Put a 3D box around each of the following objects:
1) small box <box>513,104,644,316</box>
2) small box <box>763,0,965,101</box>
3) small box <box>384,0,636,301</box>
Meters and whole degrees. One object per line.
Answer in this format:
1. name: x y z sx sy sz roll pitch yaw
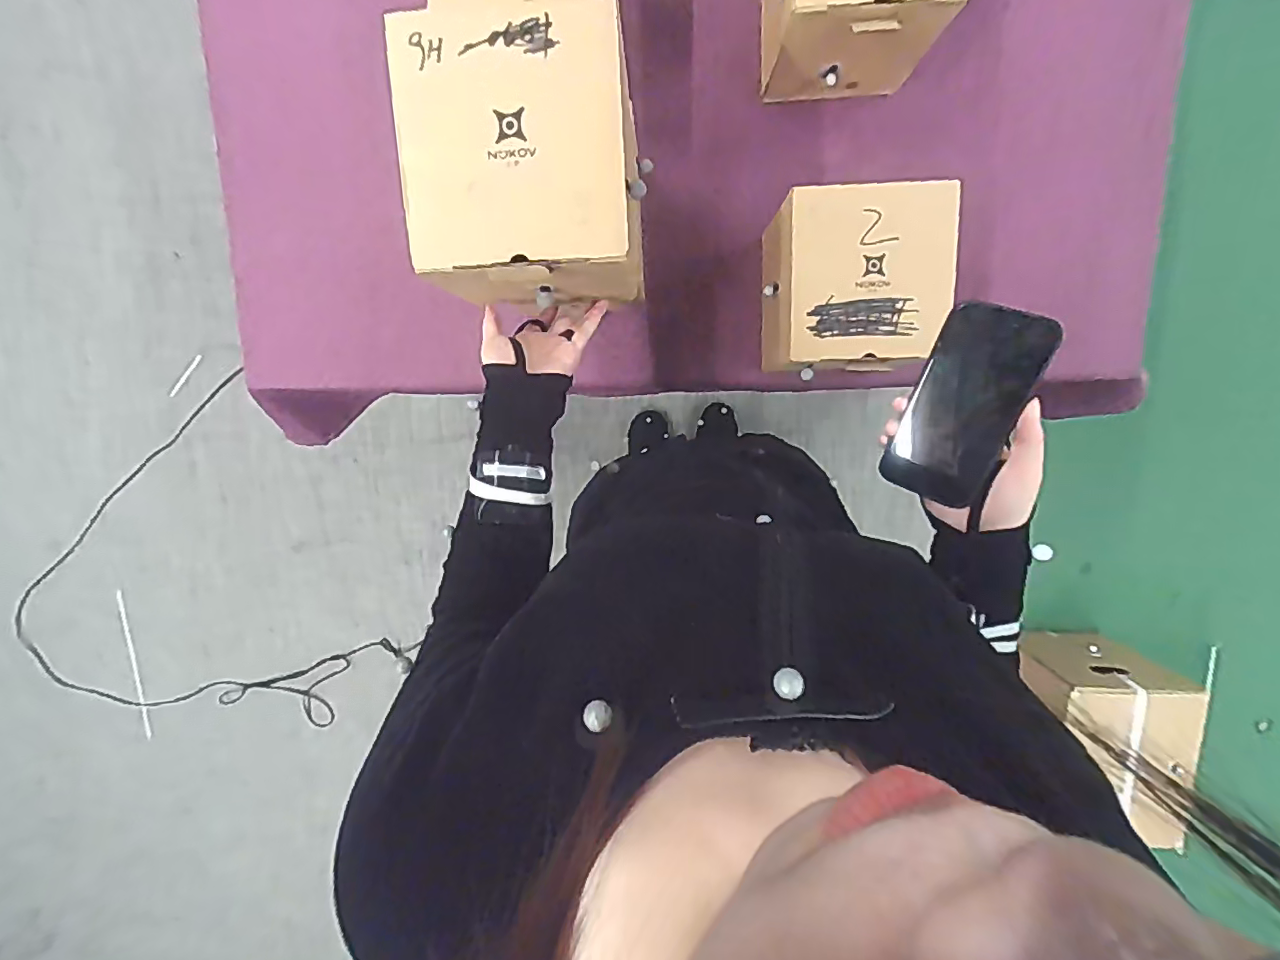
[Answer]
1. small box: -0.082 -0.297 0.629 0.168 0.176 0.179 -2 99 3
2. small box: 0.226 -0.547 0.576 0.168 0.176 0.179 -3 100 3
3. small box: -0.092 -0.256 0.469 0.168 0.176 0.179 -3 100 2
